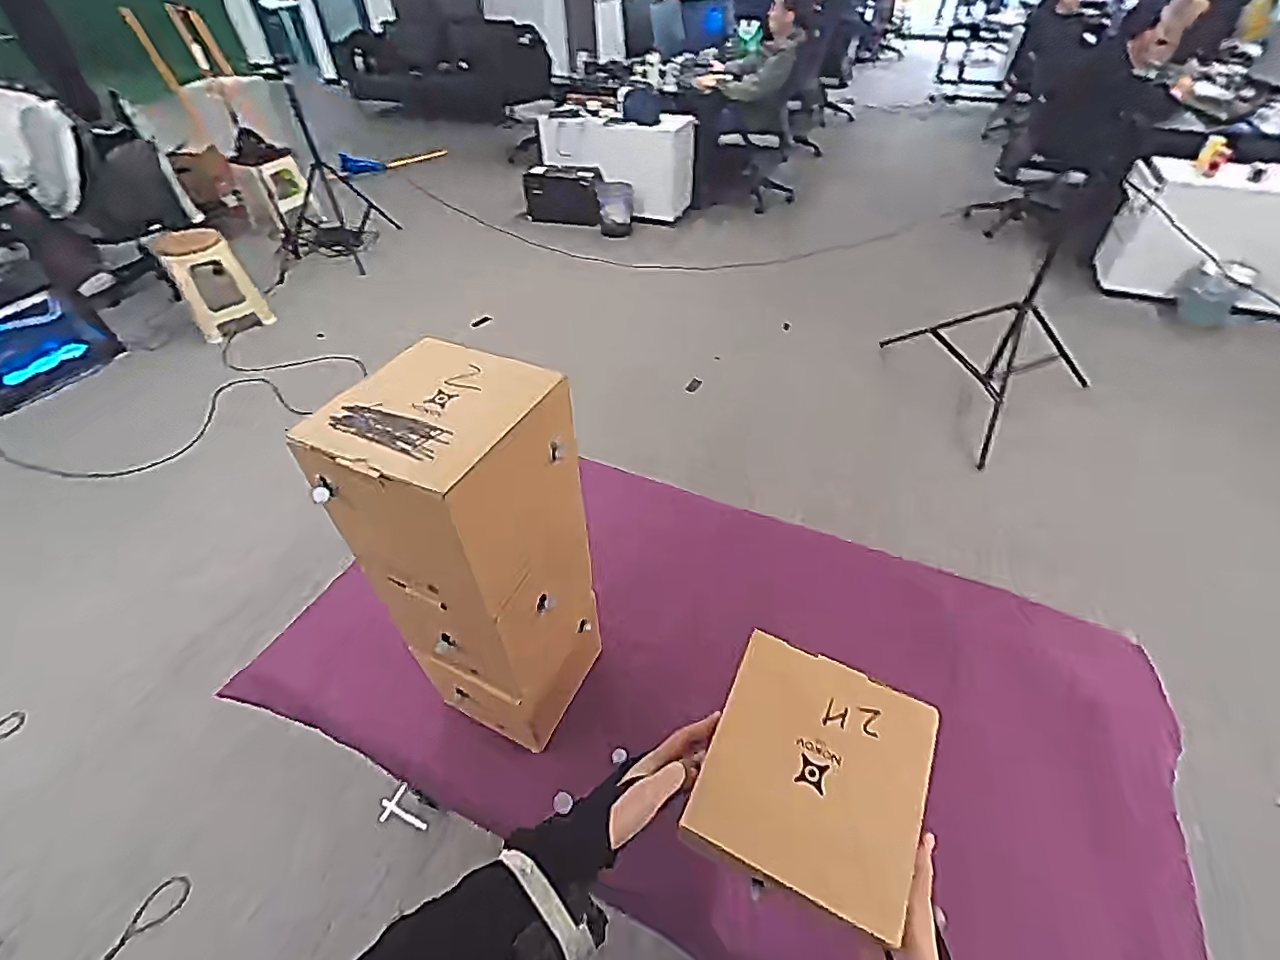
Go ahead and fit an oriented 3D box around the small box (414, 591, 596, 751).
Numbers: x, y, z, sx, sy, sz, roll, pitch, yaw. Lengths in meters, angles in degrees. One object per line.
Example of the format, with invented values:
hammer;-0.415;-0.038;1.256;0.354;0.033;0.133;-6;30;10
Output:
small box;-0.170;0.239;0.750;0.168;0.176;0.179;19;48;18

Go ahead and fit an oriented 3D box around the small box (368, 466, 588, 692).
small box;-0.170;0.118;0.639;0.168;0.176;0.179;17;48;17

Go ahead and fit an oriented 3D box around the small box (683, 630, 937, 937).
small box;0.149;0.281;0.510;0.168;0.176;0.179;21;56;17
